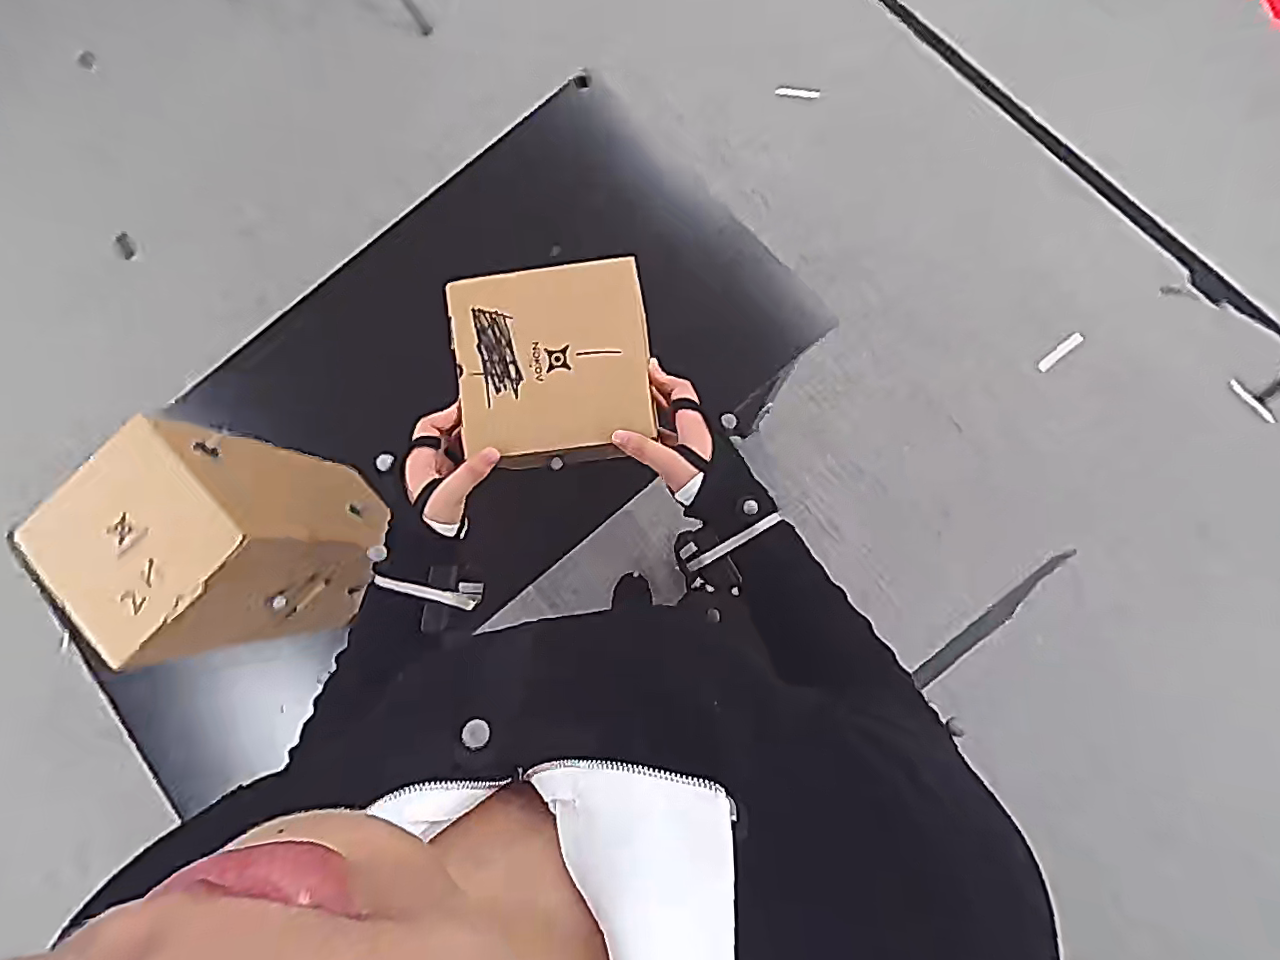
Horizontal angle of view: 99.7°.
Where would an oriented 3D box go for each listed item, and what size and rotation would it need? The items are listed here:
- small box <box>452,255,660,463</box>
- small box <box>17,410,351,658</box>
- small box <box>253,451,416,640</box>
[{"bbox_3d":[-0.075,-0.110,0.567,0.179,0.176,0.168,-6,88,3],"label":"small box"},{"bbox_3d":[-0.463,0.058,0.578,0.179,0.176,0.168,43,87,9],"label":"small box"},{"bbox_3d":[-0.448,0.086,0.741,0.168,0.176,0.179,-45,81,-3],"label":"small box"}]
